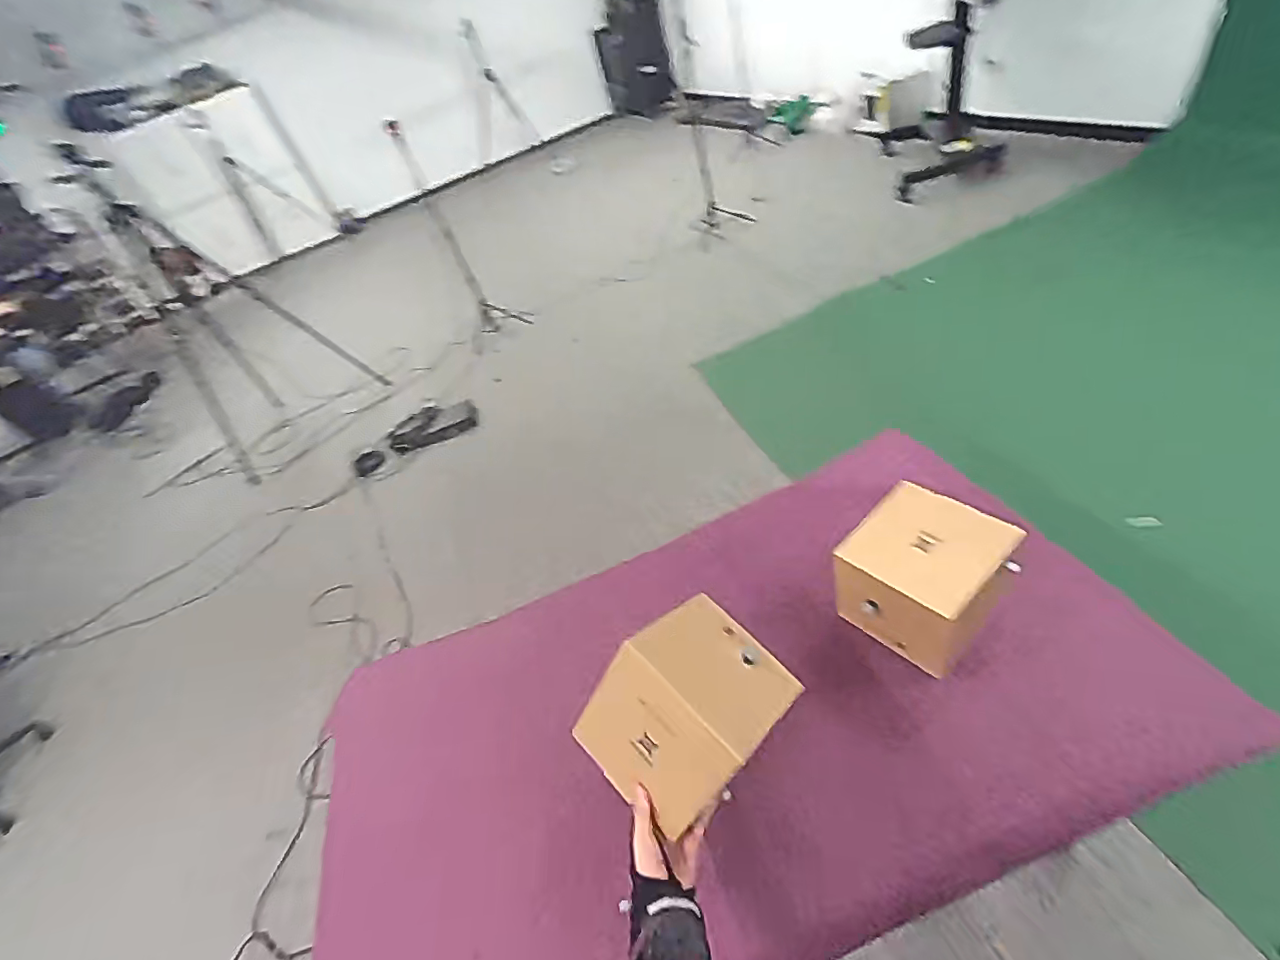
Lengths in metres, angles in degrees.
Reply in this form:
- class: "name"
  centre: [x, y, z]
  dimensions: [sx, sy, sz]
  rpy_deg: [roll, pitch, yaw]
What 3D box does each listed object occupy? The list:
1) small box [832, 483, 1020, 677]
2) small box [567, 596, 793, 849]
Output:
- class: "small box"
  centre: [0.402, 0.143, 0.775]
  dimensions: [0.179, 0.176, 0.168]
  rpy_deg: [-38, 43, -19]
- class: "small box"
  centre: [0.050, 0.270, 0.633]
  dimensions: [0.168, 0.179, 0.176]
  rpy_deg: [41, 32, 23]
